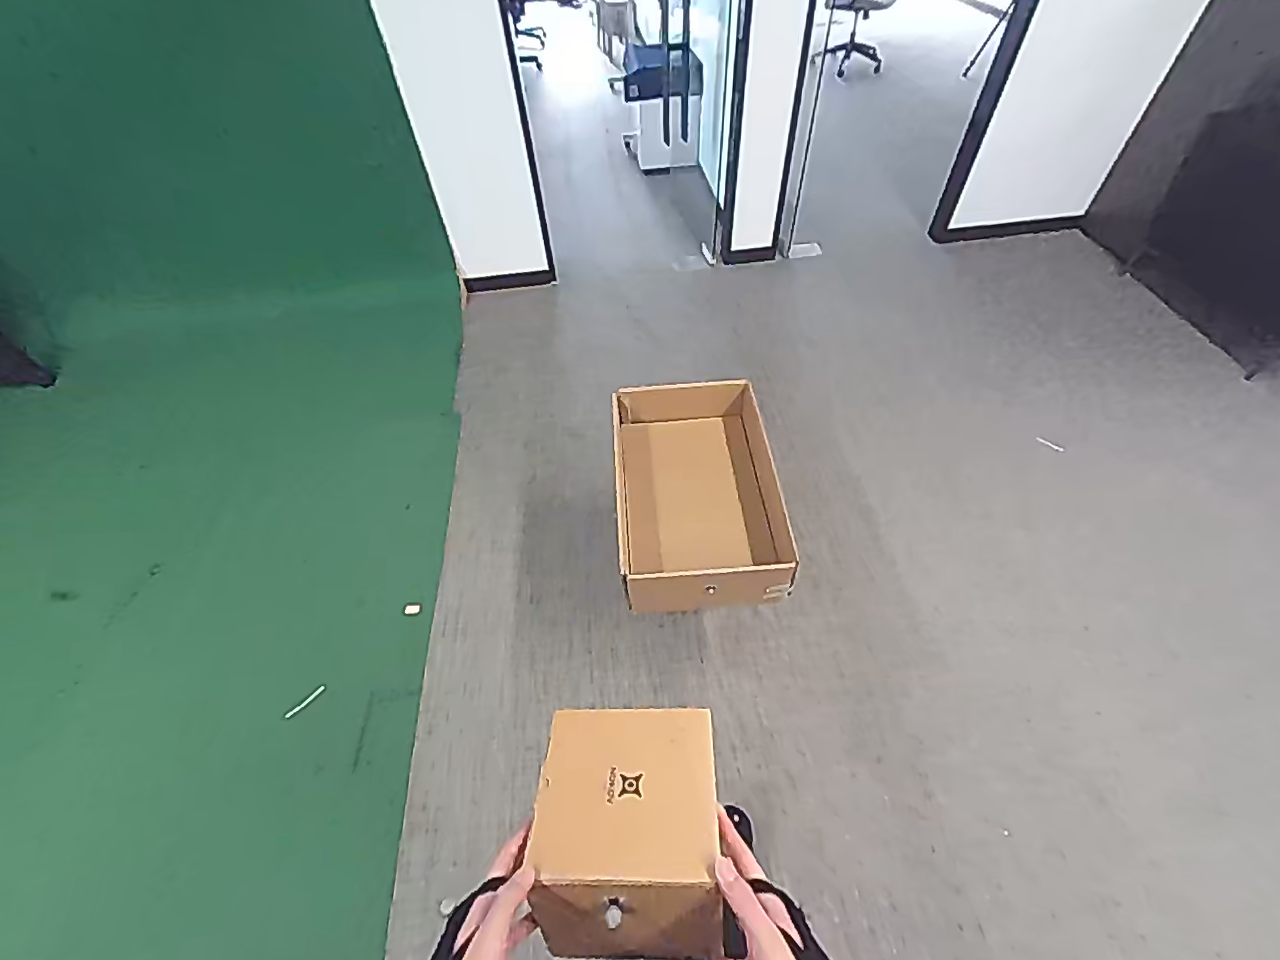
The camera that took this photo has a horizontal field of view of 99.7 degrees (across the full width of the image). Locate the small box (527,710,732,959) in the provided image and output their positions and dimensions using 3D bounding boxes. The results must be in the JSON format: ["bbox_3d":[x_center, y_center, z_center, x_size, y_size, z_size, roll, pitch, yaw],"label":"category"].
[{"bbox_3d":[0.000,0.364,0.563,0.179,0.176,0.168,-3,31,5],"label":"small box"}]
